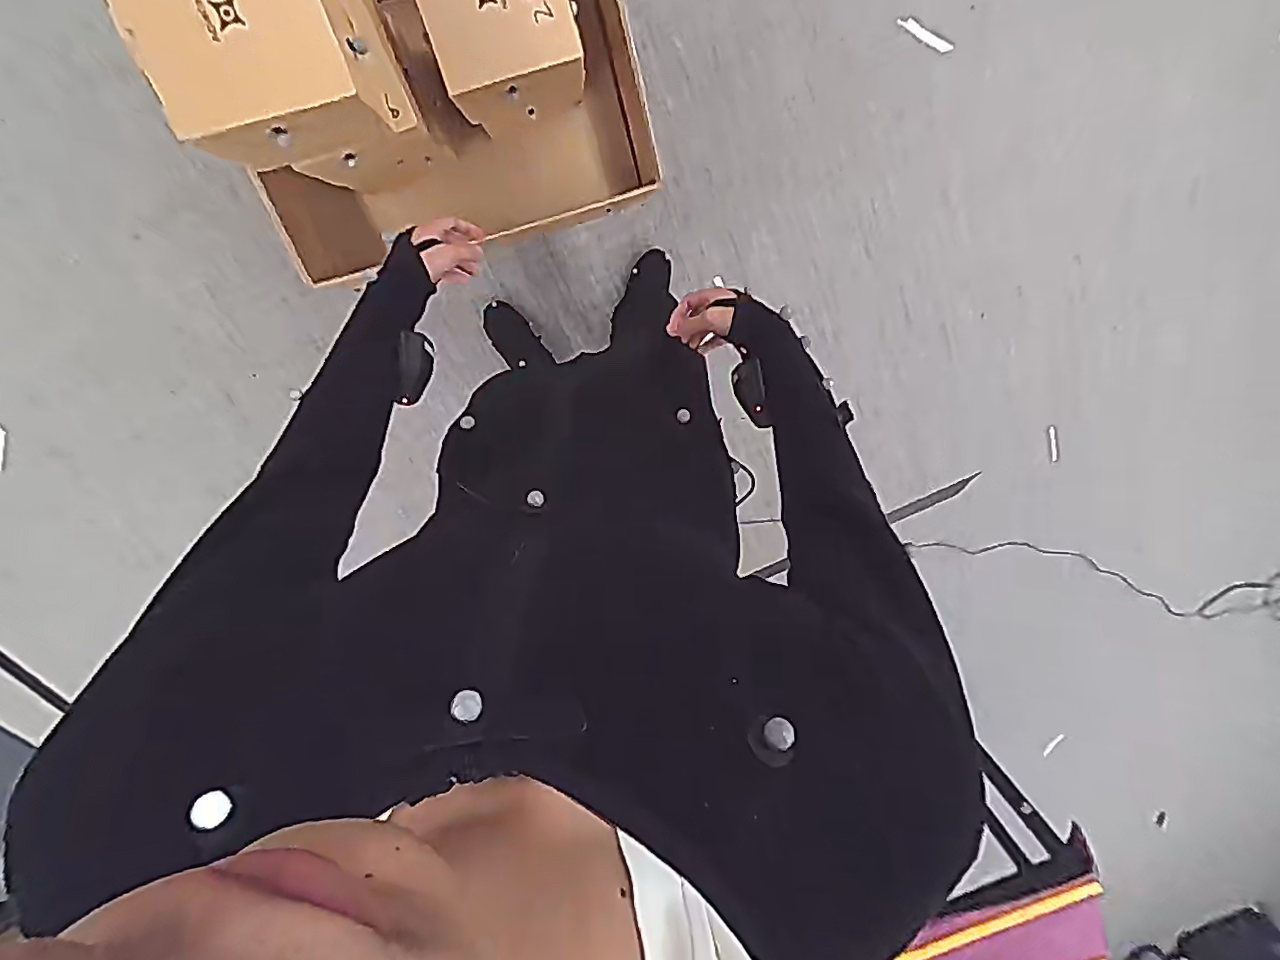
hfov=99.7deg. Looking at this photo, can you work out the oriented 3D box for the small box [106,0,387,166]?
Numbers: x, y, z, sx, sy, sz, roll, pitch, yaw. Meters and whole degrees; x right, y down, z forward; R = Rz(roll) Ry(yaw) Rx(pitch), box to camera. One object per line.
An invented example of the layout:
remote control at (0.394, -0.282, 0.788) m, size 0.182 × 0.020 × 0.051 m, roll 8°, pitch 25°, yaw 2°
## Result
small box at (-0.383, -0.443, 0.553) m, size 0.179 × 0.176 × 0.168 m, roll -18°, pitch 114°, yaw -2°
